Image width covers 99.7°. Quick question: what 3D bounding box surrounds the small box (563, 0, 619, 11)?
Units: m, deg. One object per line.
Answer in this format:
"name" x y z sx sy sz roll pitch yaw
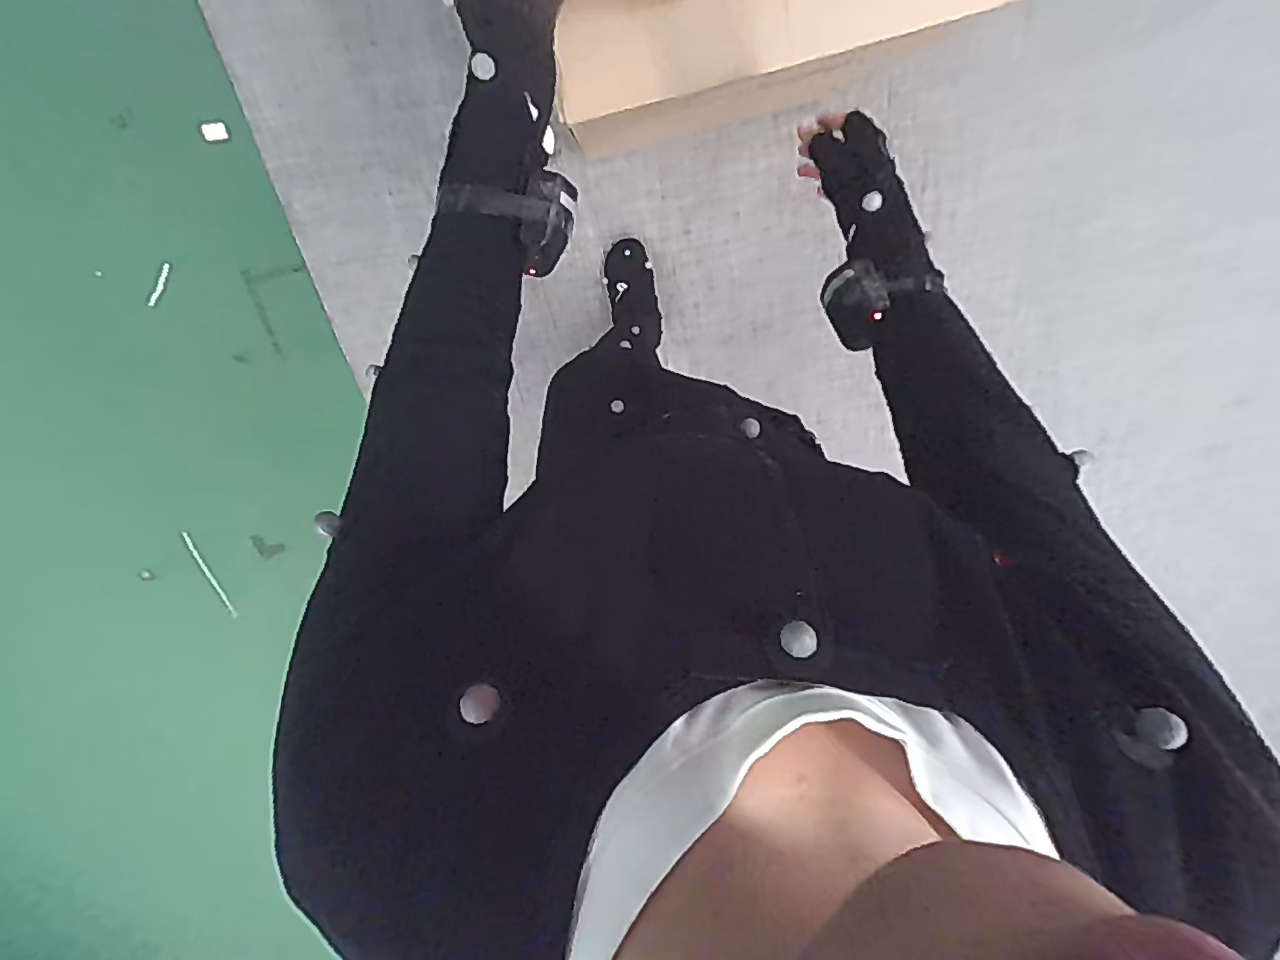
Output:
"small box" -0.008 -0.538 0.458 0.179 0.176 0.168 -12 121 5
